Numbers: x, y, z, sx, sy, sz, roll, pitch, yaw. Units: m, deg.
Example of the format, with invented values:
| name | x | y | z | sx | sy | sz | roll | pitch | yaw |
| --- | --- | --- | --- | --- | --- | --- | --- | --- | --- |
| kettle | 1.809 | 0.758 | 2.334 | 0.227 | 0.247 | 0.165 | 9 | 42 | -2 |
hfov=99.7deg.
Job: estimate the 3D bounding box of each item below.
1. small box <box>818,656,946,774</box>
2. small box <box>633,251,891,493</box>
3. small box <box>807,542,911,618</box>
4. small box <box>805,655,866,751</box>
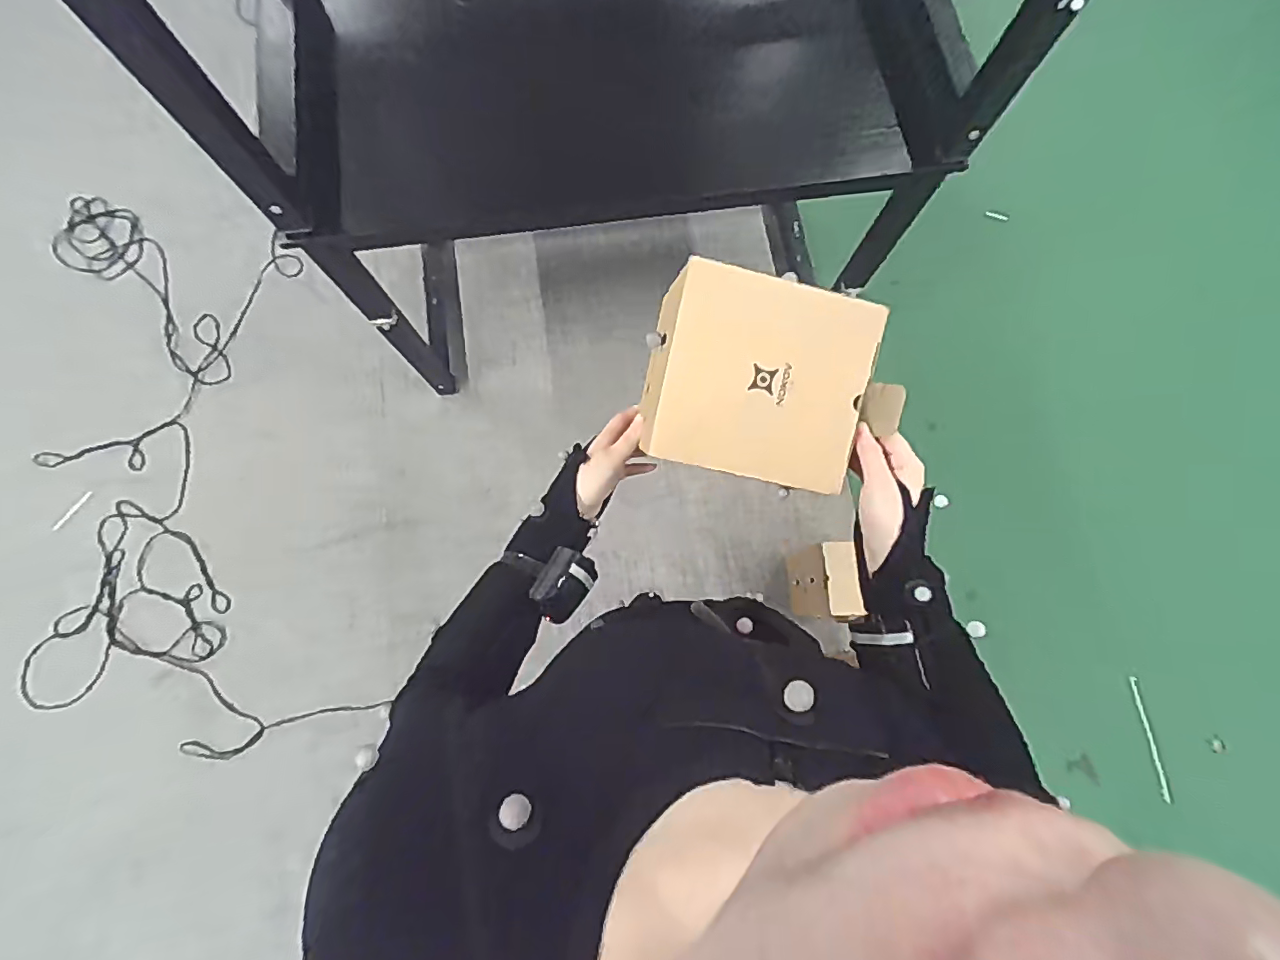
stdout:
| name | x | y | z | sx | sy | sz | roll | pitch | yaw |
| --- | --- | --- | --- | --- | --- | --- | --- | --- | --- |
| small box | 0.525 | 0.509 | 1.204 | 0.168 | 0.176 | 0.179 | -27 | 80 | -4 |
| small box | 0.095 | -0.093 | 0.513 | 0.179 | 0.176 | 0.168 | 11 | 97 | -8 |
| small box | 0.499 | 0.238 | 1.262 | 0.179 | 0.176 | 0.168 | -1 | 77 | -1 |
| small box | 0.536 | 0.550 | 1.361 | 0.168 | 0.176 | 0.179 | -15 | 79 | -3 |
